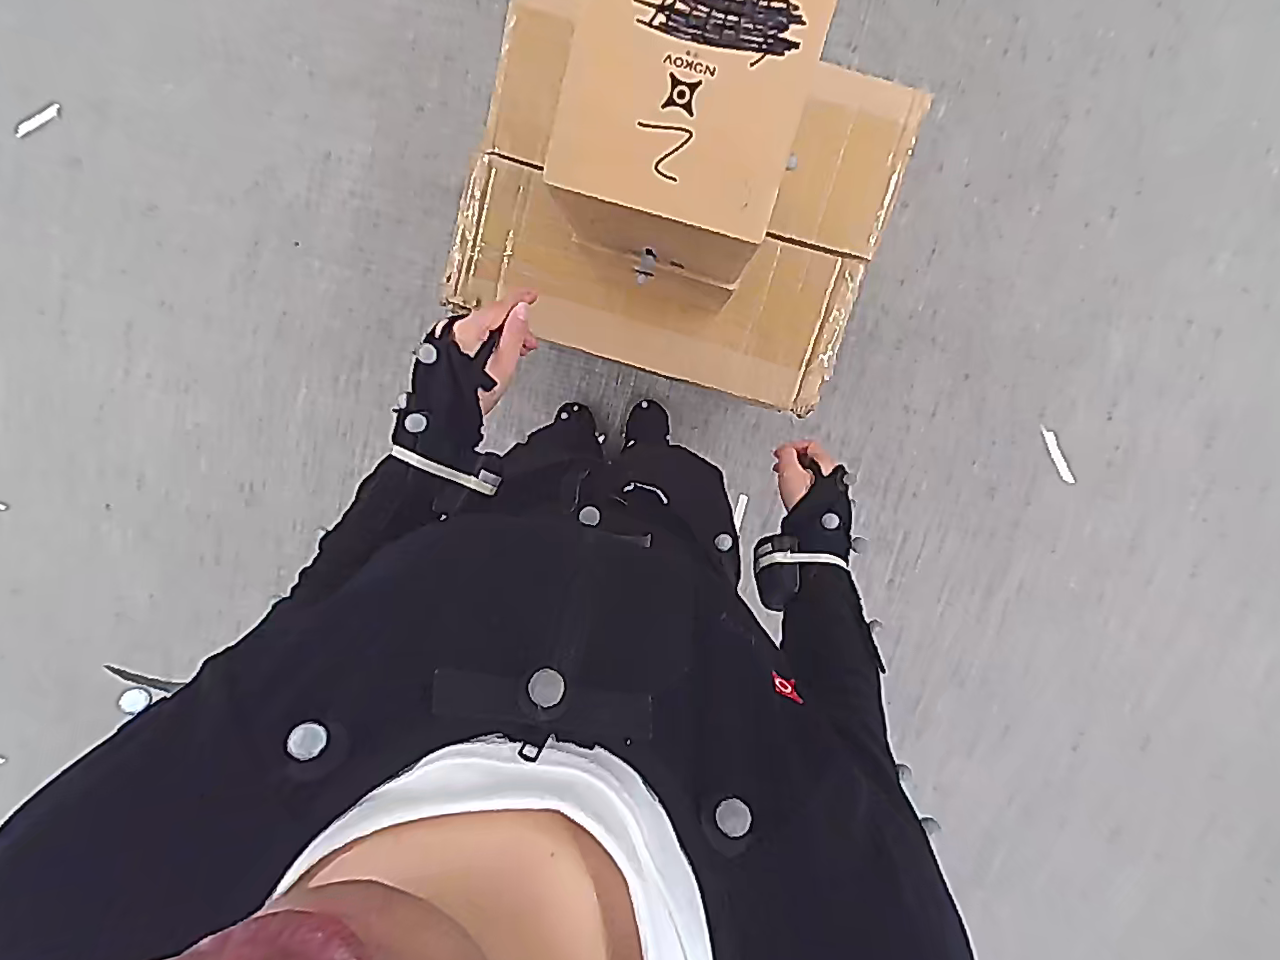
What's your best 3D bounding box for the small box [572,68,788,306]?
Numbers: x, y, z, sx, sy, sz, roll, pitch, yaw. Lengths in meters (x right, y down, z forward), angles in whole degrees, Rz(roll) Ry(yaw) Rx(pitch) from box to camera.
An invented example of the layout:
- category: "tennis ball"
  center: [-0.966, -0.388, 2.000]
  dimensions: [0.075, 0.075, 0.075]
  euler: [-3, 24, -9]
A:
- category: "small box"
  center: [0.041, -0.307, 0.608]
  dimensions: [0.179, 0.176, 0.168]
  euler: [17, 101, 0]
